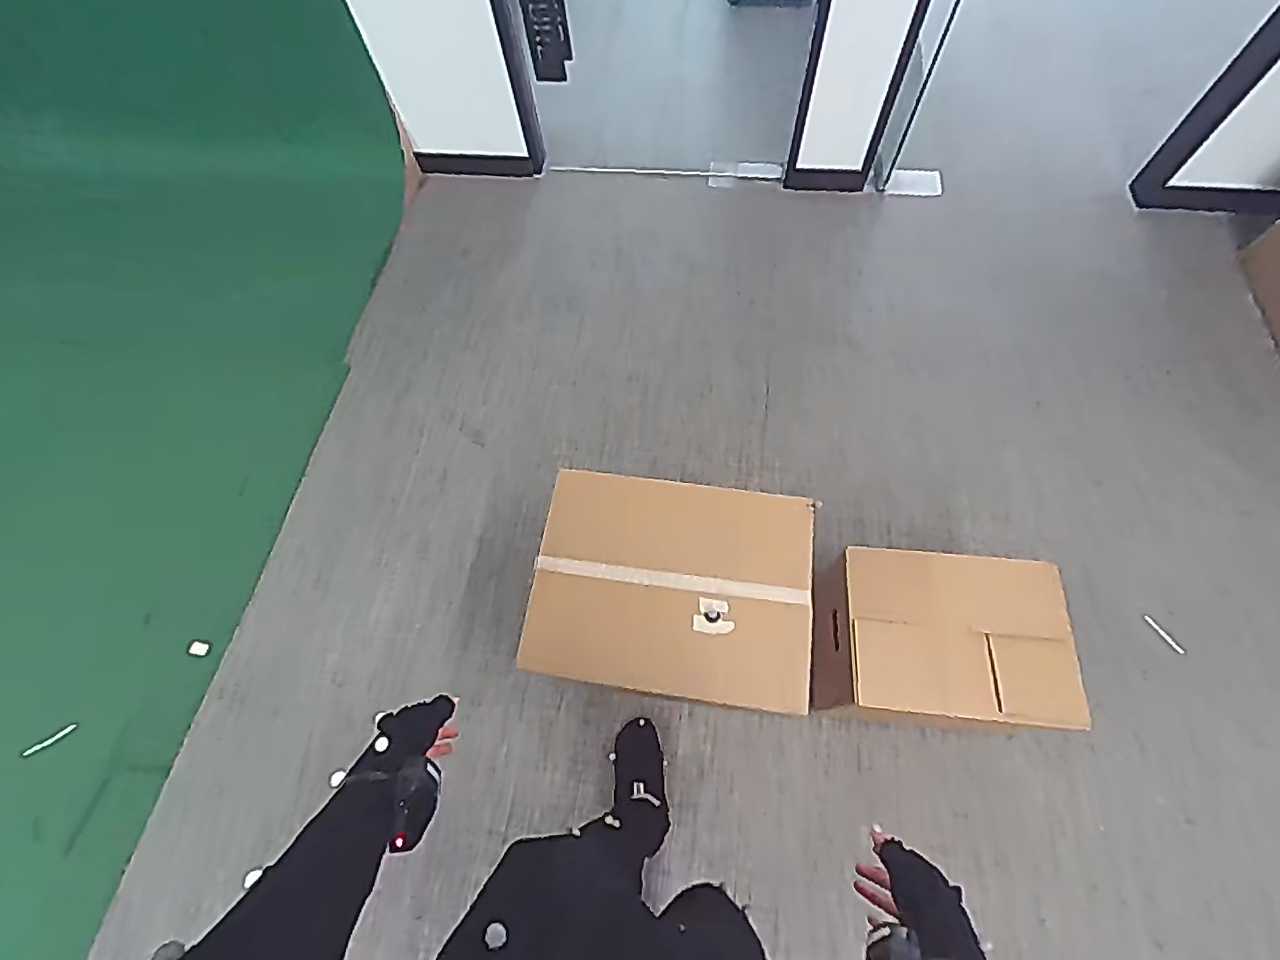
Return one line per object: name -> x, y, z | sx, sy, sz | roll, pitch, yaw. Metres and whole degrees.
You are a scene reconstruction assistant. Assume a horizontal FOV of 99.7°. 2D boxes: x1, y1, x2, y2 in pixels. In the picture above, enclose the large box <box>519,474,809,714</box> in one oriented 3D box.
large box -> 0.048, 0.209, 0.933 | 0.408, 0.320, 0.320 | 7, 67, 5
